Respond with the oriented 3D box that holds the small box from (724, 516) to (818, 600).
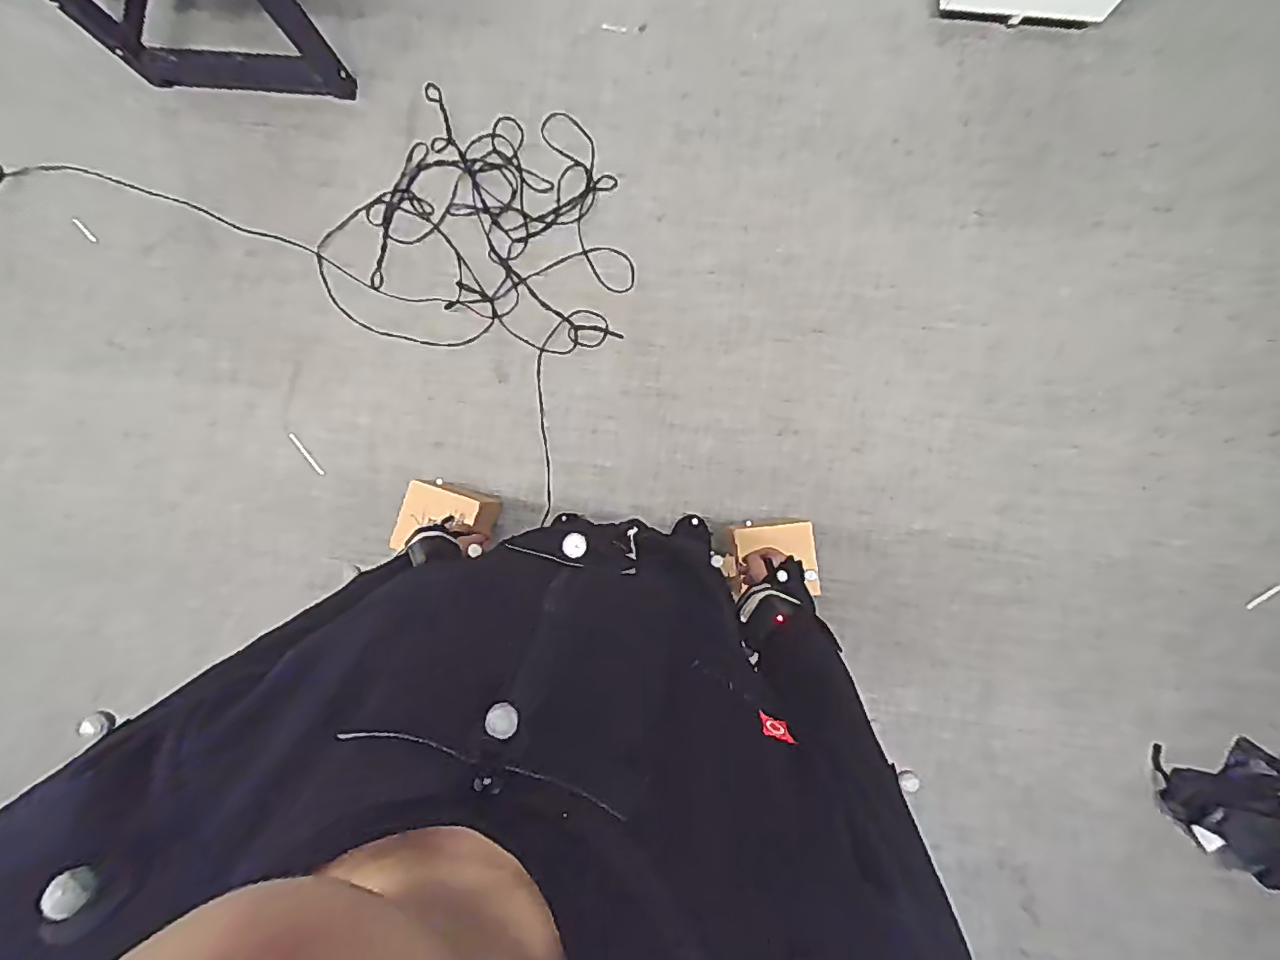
[{"bbox_3d":[0.304,0.179,1.285,0.179,0.176,0.168,-7,89,2],"label":"small box"}]
